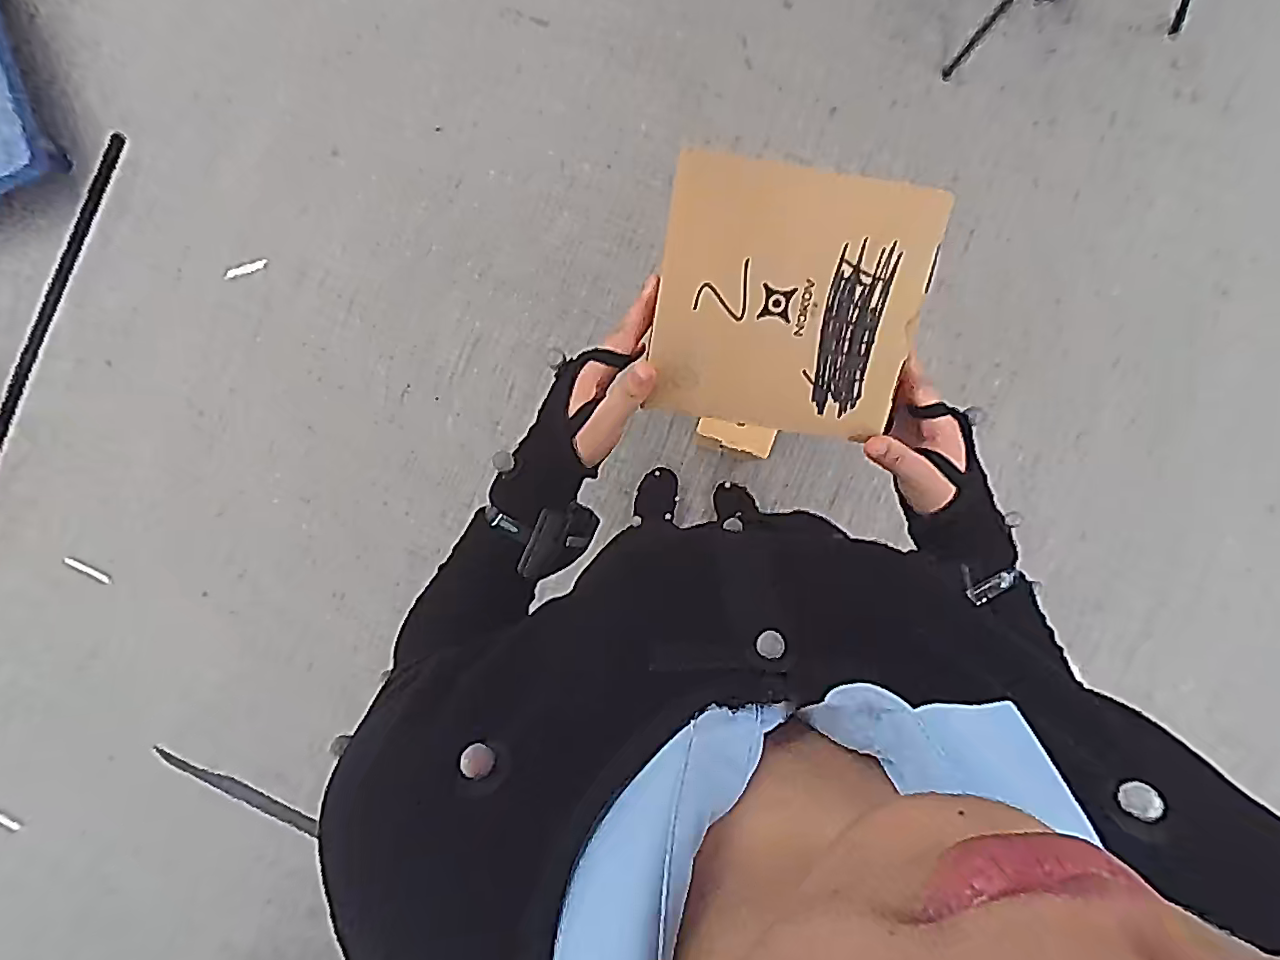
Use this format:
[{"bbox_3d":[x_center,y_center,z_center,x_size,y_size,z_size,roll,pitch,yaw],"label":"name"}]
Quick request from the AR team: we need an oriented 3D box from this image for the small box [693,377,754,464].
[{"bbox_3d":[0.244,-0.148,1.407,0.168,0.176,0.179,20,91,3],"label":"small box"}]

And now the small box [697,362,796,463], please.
[{"bbox_3d":[0.234,-0.148,1.244,0.168,0.176,0.179,22,92,4],"label":"small box"}]
